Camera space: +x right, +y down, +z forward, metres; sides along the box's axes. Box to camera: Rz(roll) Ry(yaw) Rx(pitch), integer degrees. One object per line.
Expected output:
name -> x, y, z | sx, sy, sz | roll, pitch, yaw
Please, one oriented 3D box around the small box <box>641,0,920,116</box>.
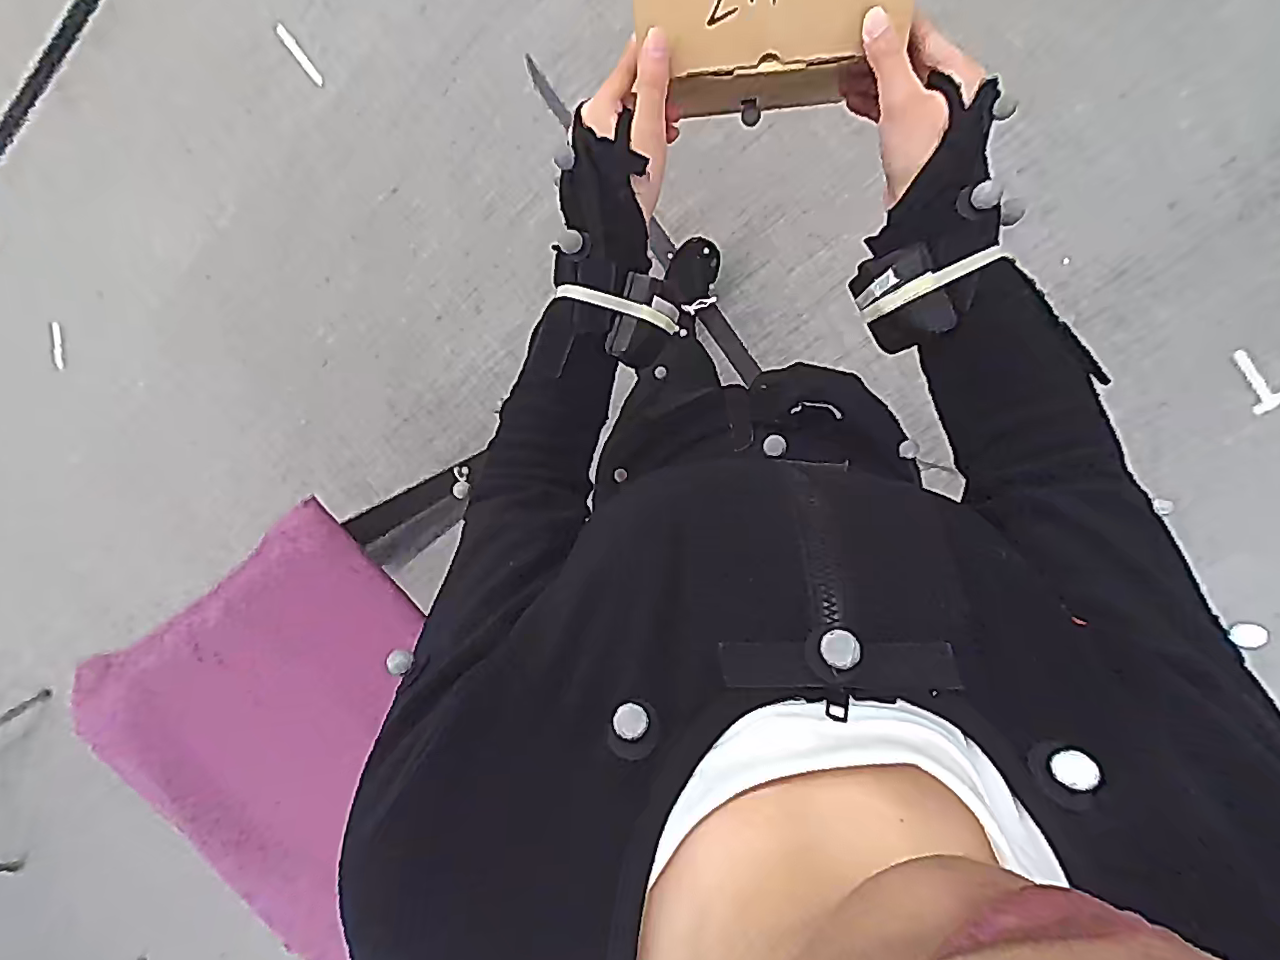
small box -> 0.086, -0.370, 0.367 | 0.168, 0.176, 0.179 | -1, 116, 7
